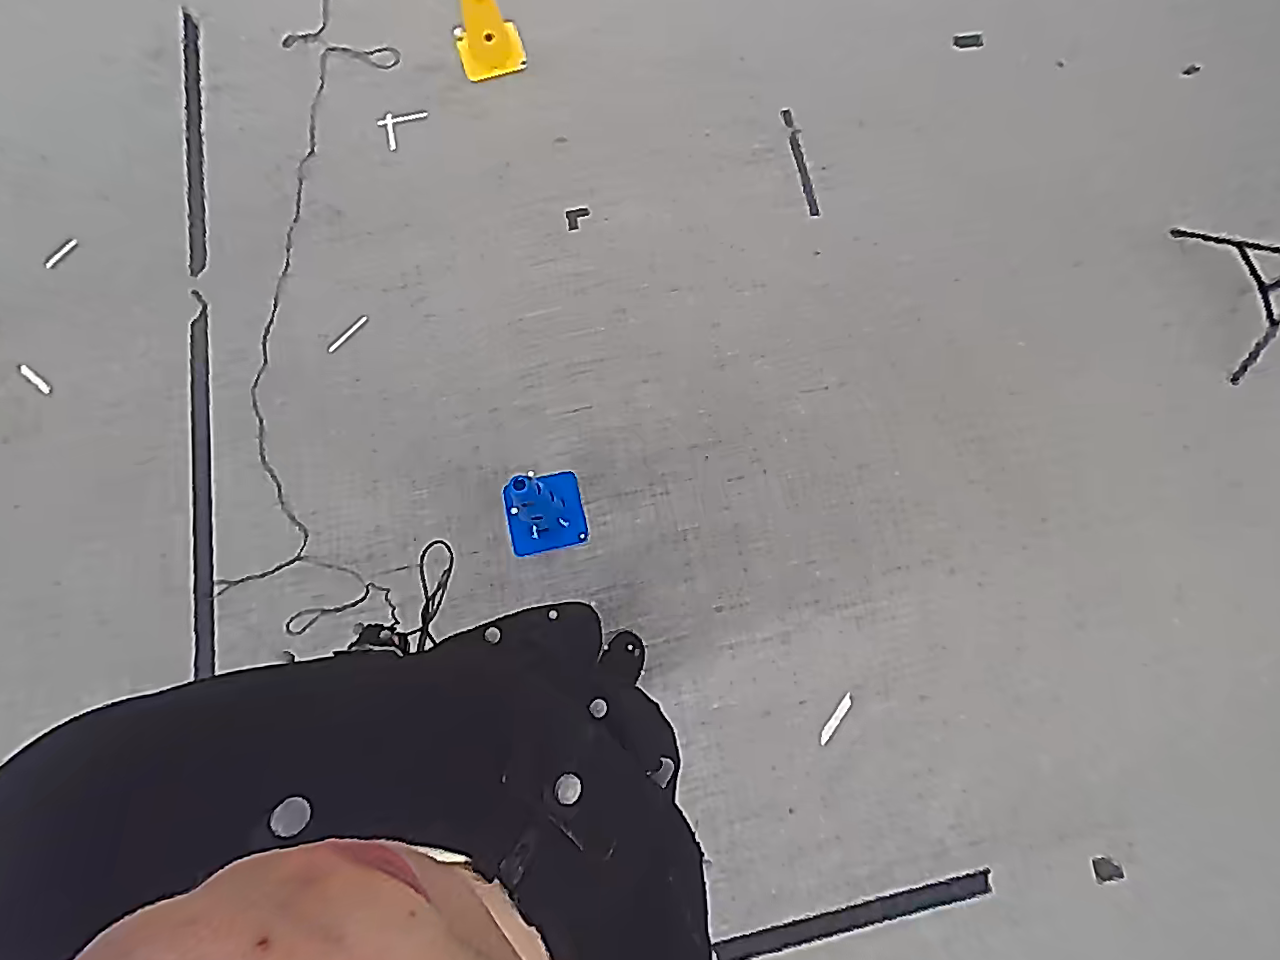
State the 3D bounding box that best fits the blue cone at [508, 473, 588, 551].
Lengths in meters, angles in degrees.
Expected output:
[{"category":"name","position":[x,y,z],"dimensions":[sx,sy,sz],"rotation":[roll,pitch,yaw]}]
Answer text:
[{"category":"blue cone","position":[-0.237,0.048,1.253],"dimensions":[0.192,0.380,0.193],"rotation":[-10,78,-4]}]
